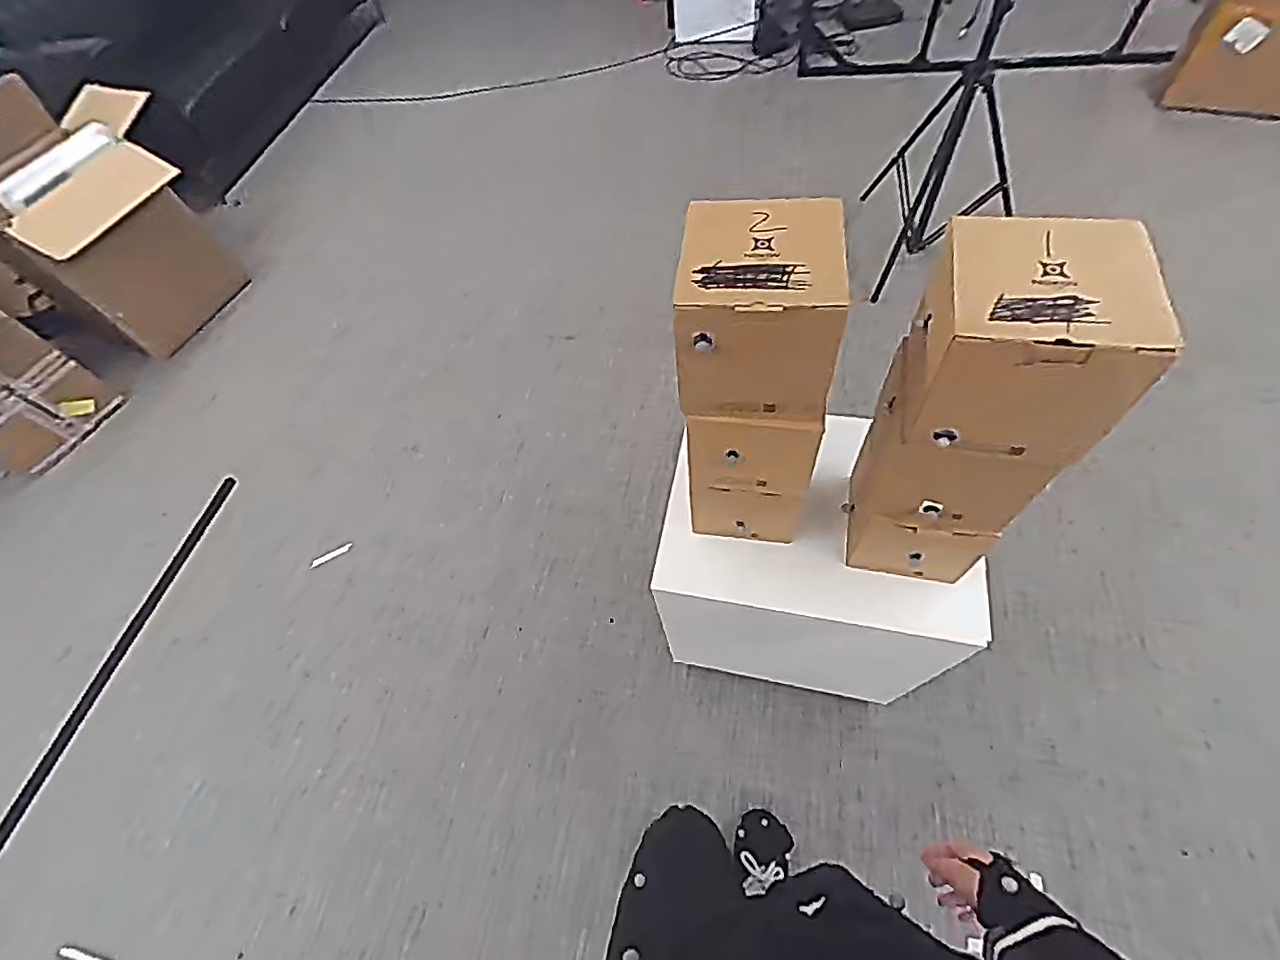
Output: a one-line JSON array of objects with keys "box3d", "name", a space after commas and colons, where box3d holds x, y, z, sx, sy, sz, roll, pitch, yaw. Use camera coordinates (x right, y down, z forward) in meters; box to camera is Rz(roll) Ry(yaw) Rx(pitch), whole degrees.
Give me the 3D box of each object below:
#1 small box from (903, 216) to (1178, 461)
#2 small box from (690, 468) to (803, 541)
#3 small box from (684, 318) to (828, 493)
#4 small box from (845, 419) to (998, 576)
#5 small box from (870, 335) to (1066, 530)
[{"box3d": [0.378, -0.139, 0.550, 0.168, 0.176, 0.179, 9, 60, 15], "name": "small box"}, {"box3d": [0.177, -0.020, 0.890, 0.168, 0.176, 0.179, 6, 61, 11], "name": "small box"}, {"box3d": [0.159, -0.099, 0.749, 0.168, 0.176, 0.179, 6, 60, 11], "name": "small box"}, {"box3d": [0.417, 0.032, 0.826, 0.168, 0.176, 0.179, 8, 62, 12], "name": "small box"}, {"box3d": [0.399, -0.058, 0.692, 0.168, 0.176, 0.179, 8, 61, 14], "name": "small box"}]
